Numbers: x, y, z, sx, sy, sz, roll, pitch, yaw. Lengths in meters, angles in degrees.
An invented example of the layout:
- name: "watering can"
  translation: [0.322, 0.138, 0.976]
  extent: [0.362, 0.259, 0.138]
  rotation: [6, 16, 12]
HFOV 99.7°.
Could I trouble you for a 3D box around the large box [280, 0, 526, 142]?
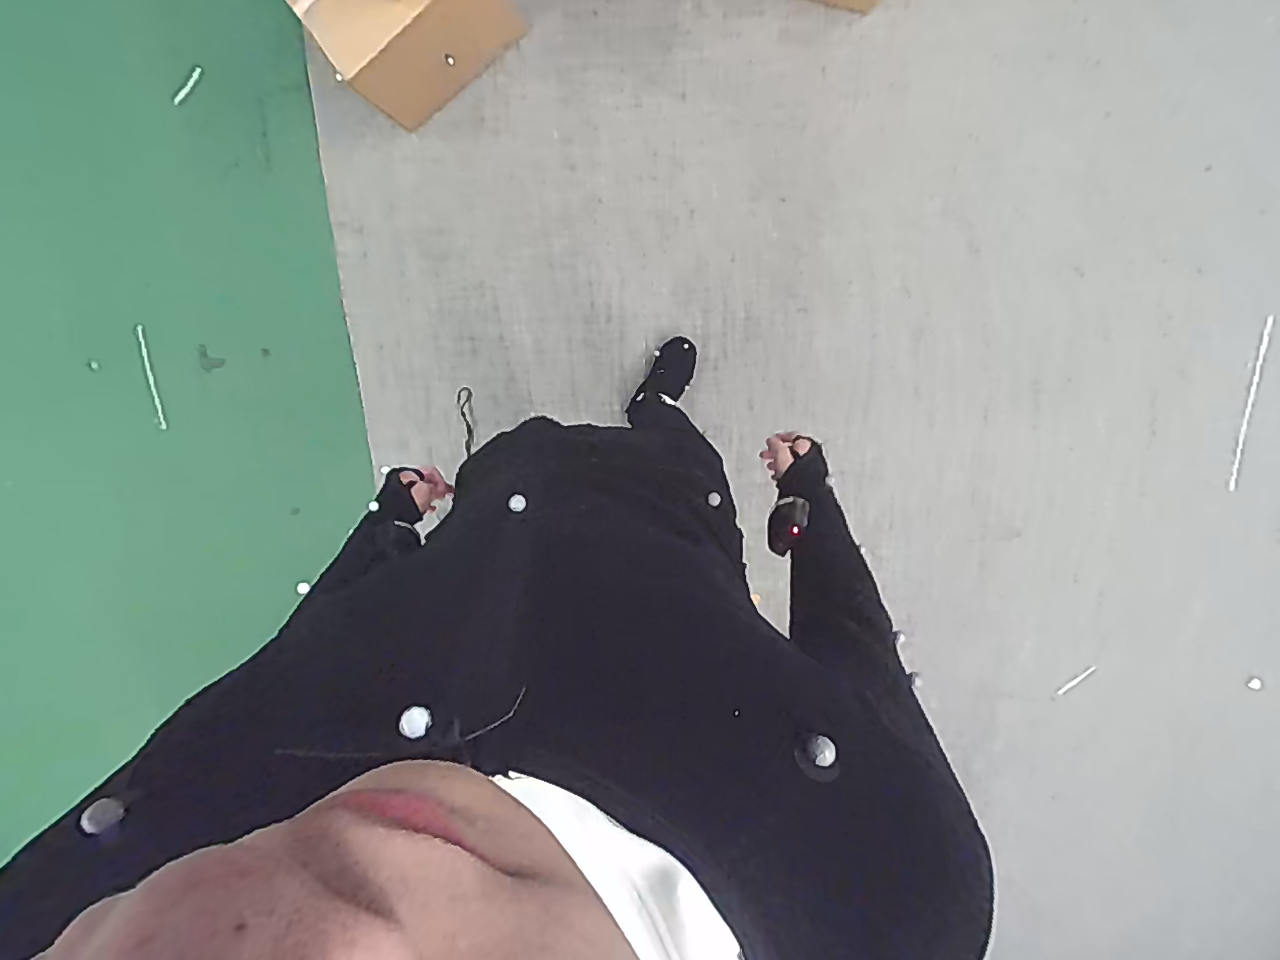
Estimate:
- name: "large box"
  translation: [-0.540, -1.092, 1.244]
  extent: [0.408, 0.320, 0.320]
  rotation: [-33, 98, 11]
